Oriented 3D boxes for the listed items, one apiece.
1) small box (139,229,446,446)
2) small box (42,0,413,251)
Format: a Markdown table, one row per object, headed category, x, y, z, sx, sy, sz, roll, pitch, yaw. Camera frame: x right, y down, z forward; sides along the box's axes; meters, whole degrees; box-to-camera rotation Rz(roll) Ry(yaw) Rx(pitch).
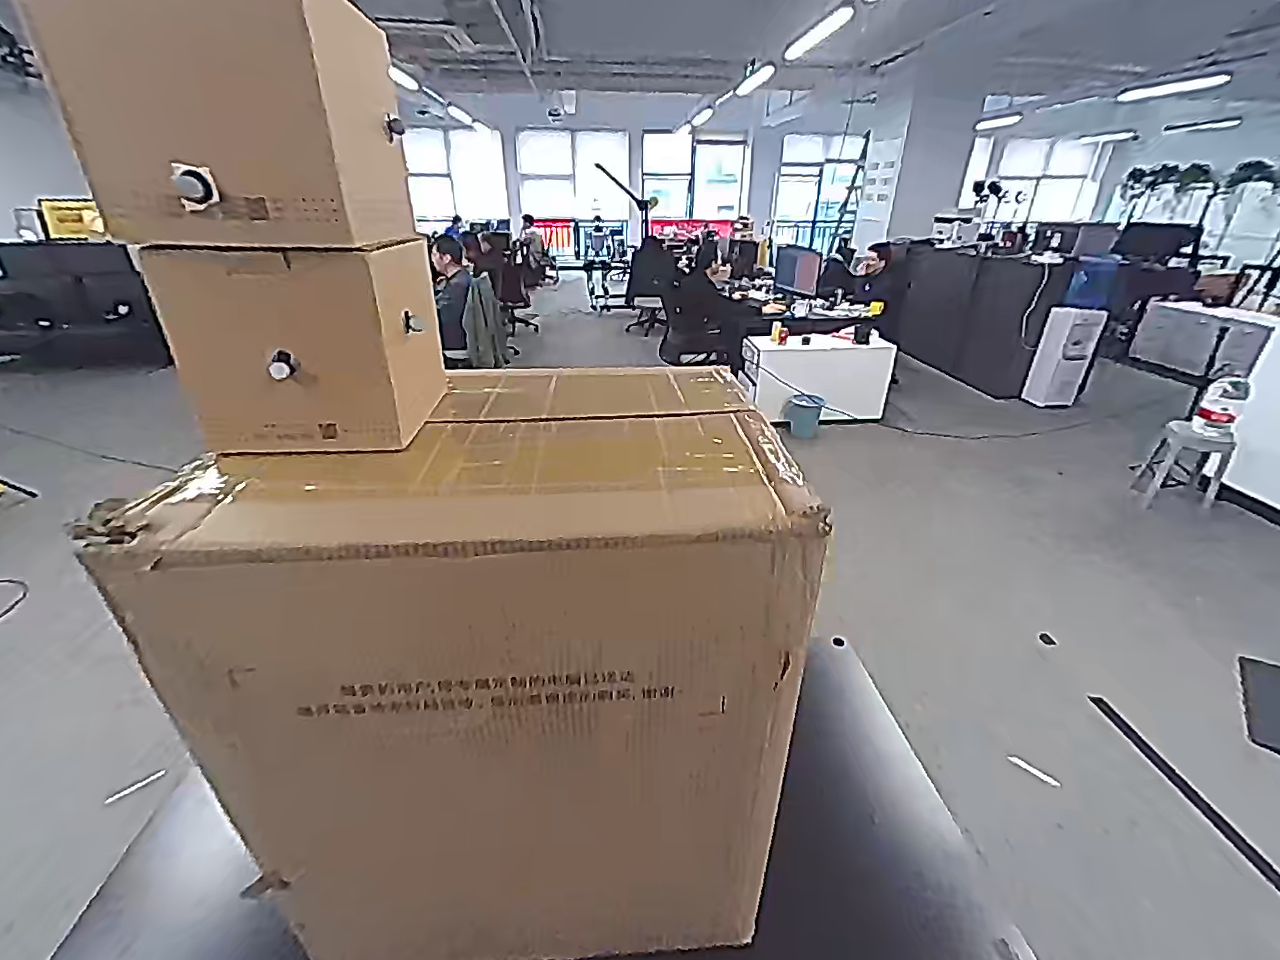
| category | x | y | z | sx | sy | sz | roll | pitch | yaw |
| --- | --- | --- | --- | --- | --- | --- | --- | --- | --- |
| small box | -0.291 | -0.138 | 0.508 | 0.168 | 0.176 | 0.179 | -2 | 28 | -6 |
| small box | -0.290 | -0.277 | 0.422 | 0.168 | 0.176 | 0.179 | -3 | 28 | -6 |
